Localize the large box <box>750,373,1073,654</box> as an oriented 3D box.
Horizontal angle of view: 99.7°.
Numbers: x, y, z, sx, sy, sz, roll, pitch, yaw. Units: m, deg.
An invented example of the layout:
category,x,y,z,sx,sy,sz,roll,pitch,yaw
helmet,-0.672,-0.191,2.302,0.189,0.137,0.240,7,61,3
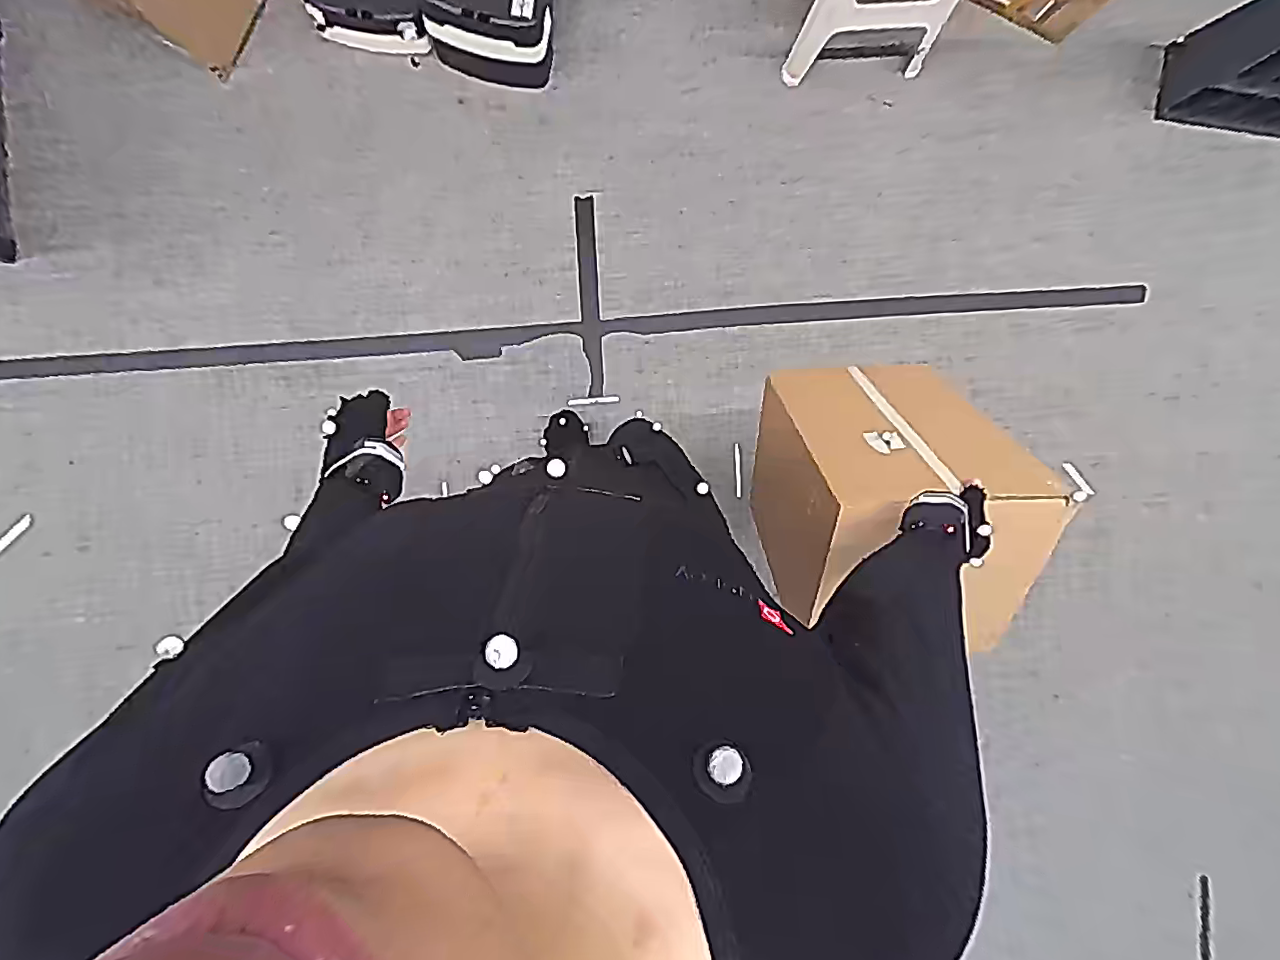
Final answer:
category,x,y,z,sx,sy,sz,roll,pitch,yaw
large box,0.404,0.040,0.946,0.320,0.408,0.320,-2,127,-2
